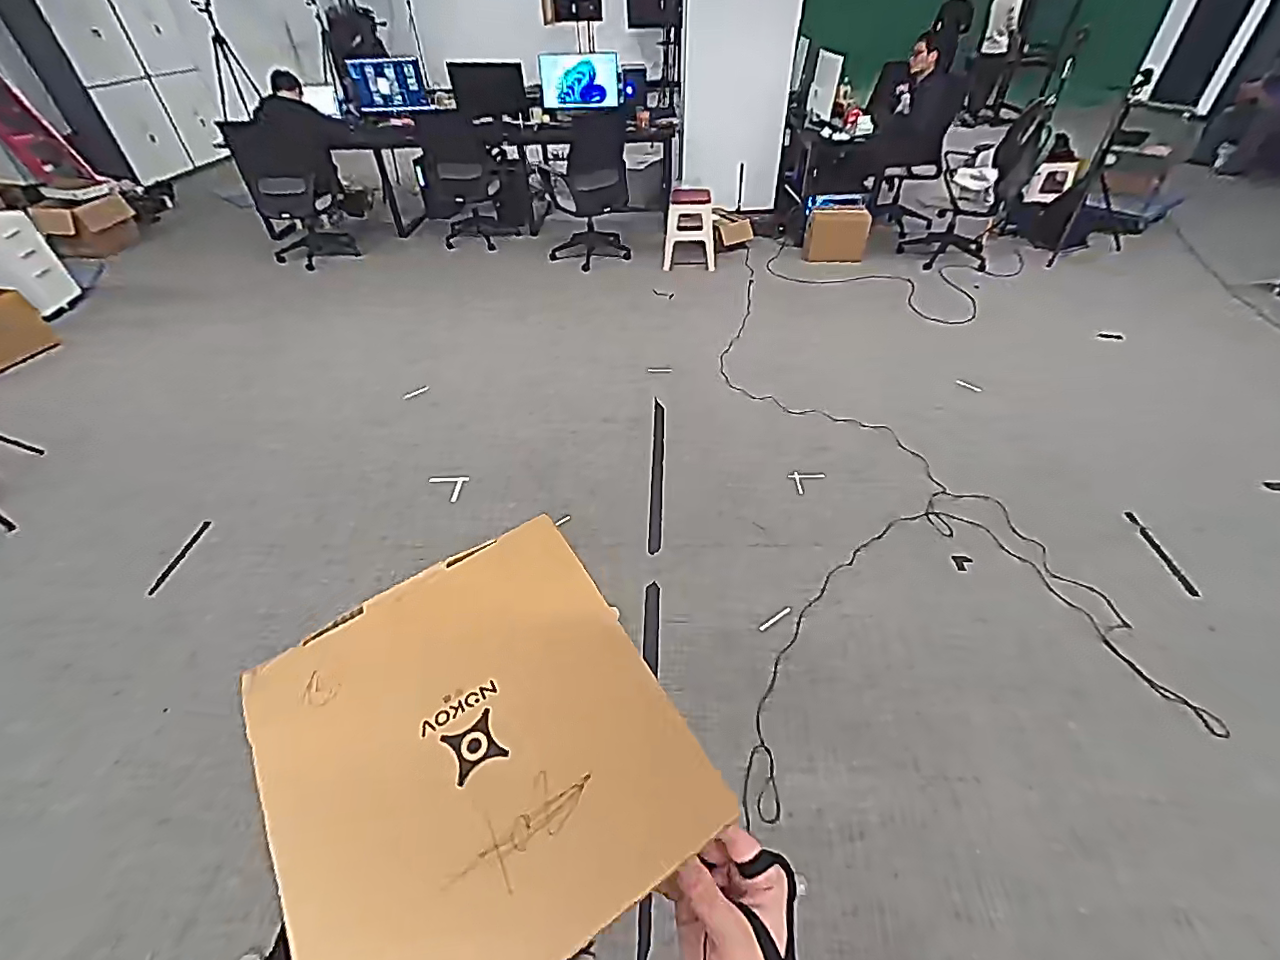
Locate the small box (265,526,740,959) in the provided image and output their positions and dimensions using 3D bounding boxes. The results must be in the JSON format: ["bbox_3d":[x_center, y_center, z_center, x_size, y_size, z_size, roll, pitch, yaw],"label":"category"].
[{"bbox_3d":[-0.069,0.166,0.313,0.168,0.176,0.179,-30,59,-18],"label":"small box"}]
